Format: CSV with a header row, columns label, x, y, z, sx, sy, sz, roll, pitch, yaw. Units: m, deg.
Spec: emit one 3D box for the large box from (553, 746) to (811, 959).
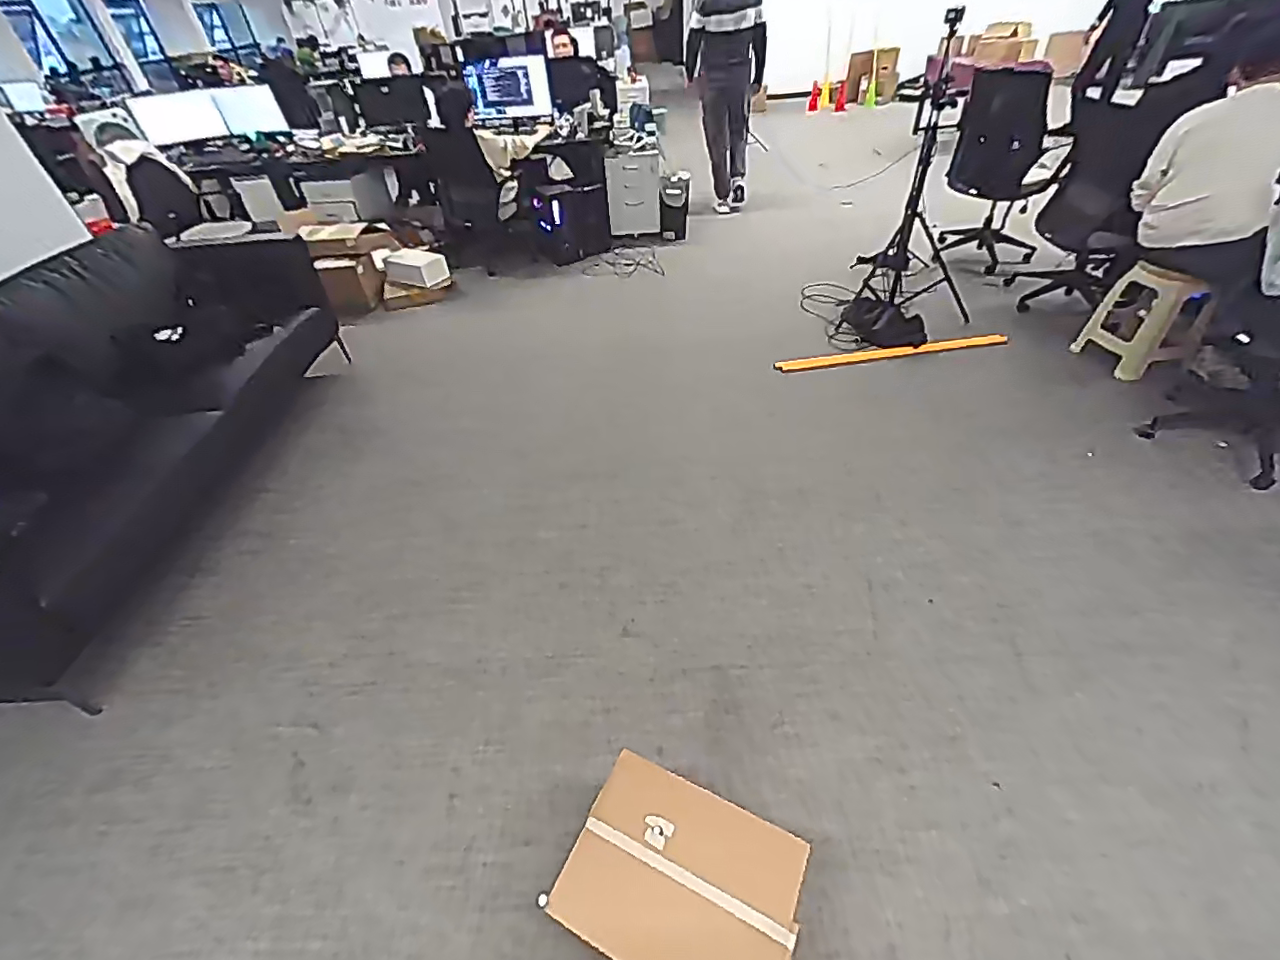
label,x,y,z,sx,sy,sz,roll,pitch,yaw
large box,0.099,0.827,1.102,0.408,0.320,0.320,16,47,23
